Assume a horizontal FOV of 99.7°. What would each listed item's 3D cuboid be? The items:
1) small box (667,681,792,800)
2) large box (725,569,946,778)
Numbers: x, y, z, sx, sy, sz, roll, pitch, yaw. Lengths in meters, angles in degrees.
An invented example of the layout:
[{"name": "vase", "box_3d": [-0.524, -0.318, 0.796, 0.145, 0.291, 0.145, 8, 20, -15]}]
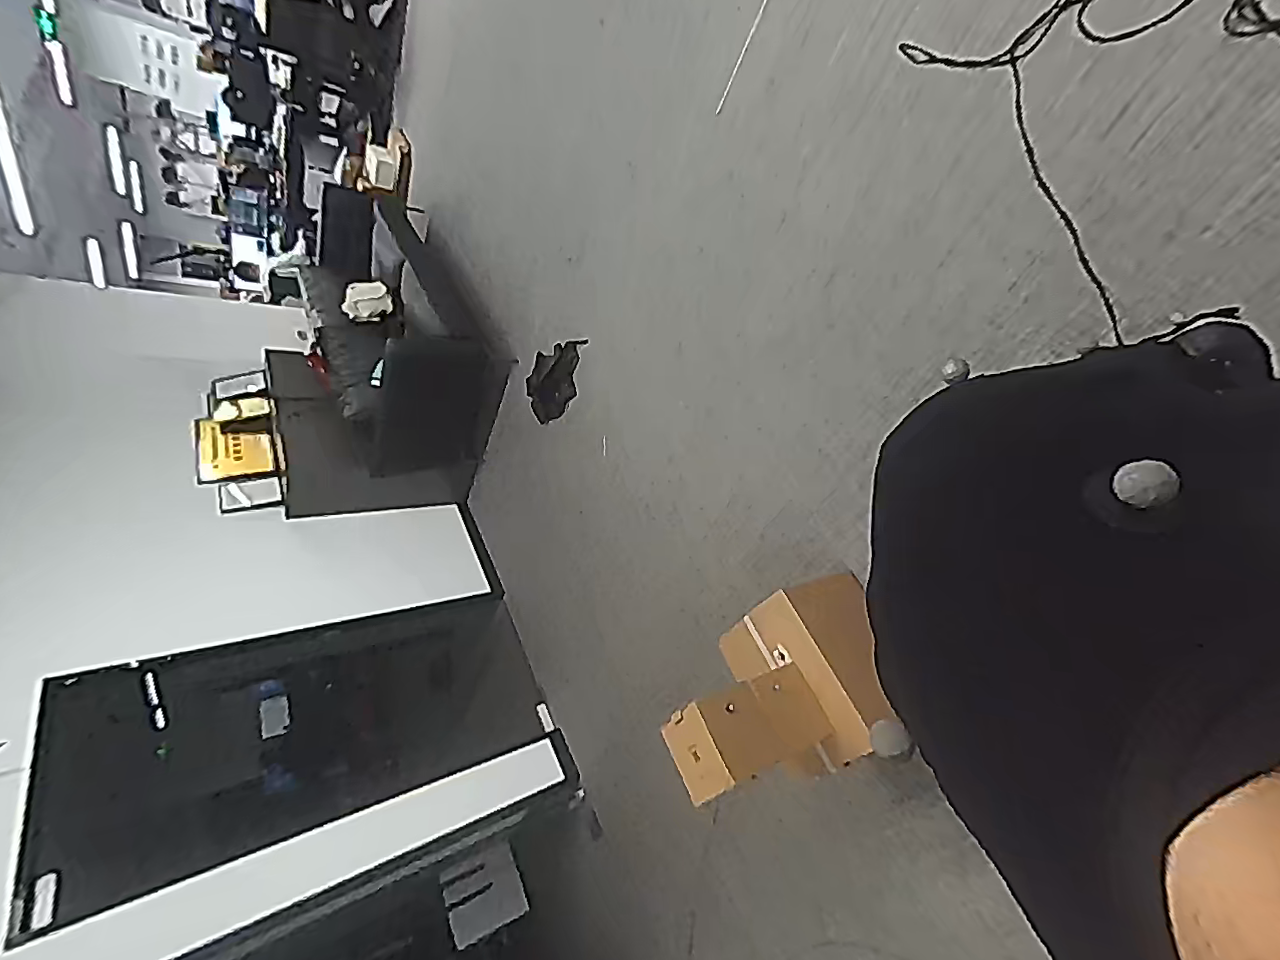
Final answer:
[{"name": "small box", "box_3d": [0.196, 0.566, 1.198, 0.179, 0.176, 0.168, 60, 137, 30]}, {"name": "large box", "box_3d": [0.509, 0.504, 1.455, 0.320, 0.320, 0.408, -54, 51, 39]}]
